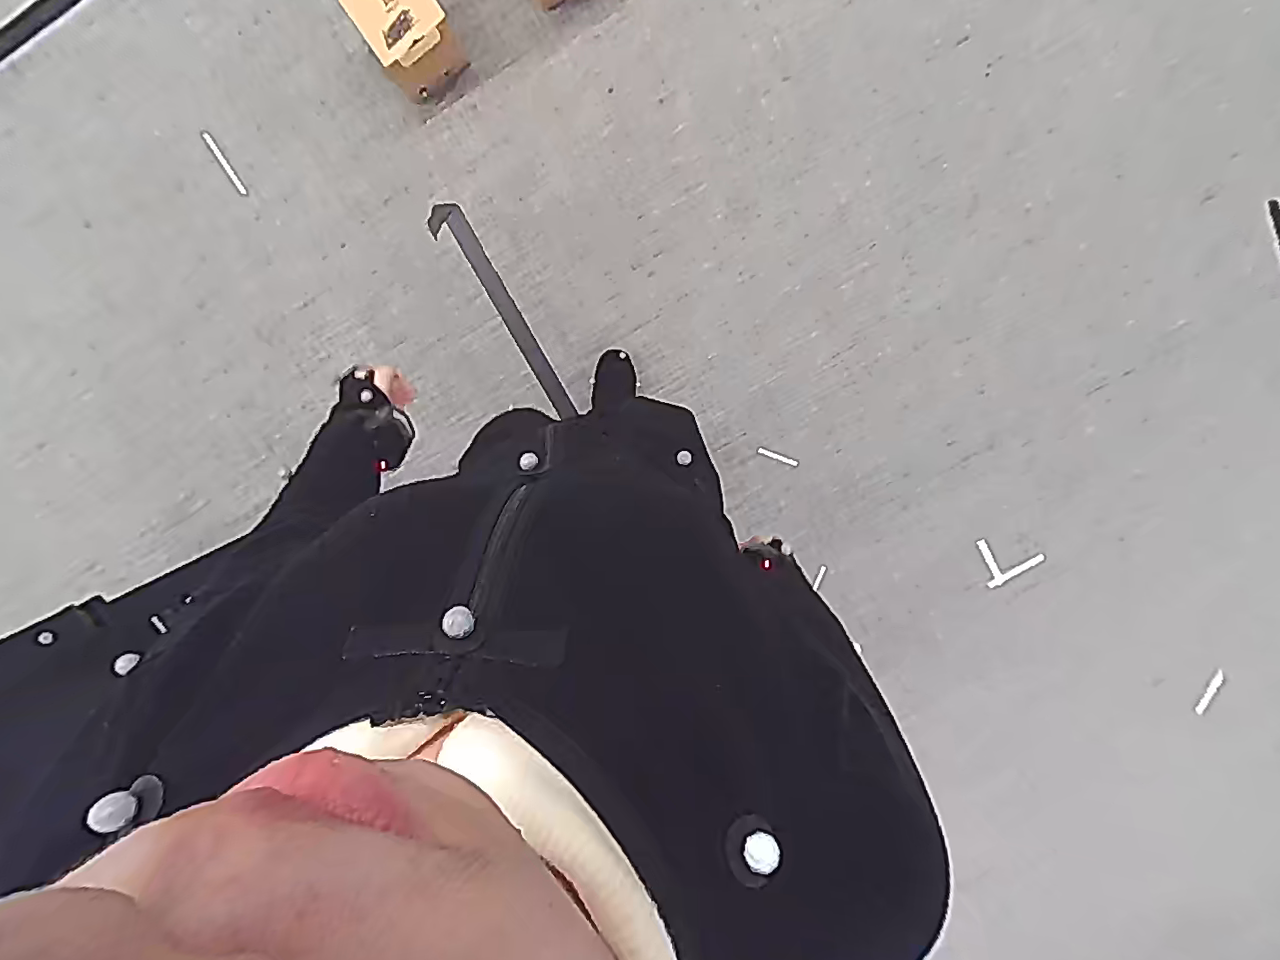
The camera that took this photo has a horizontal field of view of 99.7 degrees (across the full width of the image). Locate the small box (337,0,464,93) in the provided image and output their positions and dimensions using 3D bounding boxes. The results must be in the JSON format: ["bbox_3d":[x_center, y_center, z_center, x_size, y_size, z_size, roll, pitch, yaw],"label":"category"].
[{"bbox_3d":[-0.510,-0.979,1.162,0.168,0.176,0.179,-34,101,6],"label":"small box"}]
